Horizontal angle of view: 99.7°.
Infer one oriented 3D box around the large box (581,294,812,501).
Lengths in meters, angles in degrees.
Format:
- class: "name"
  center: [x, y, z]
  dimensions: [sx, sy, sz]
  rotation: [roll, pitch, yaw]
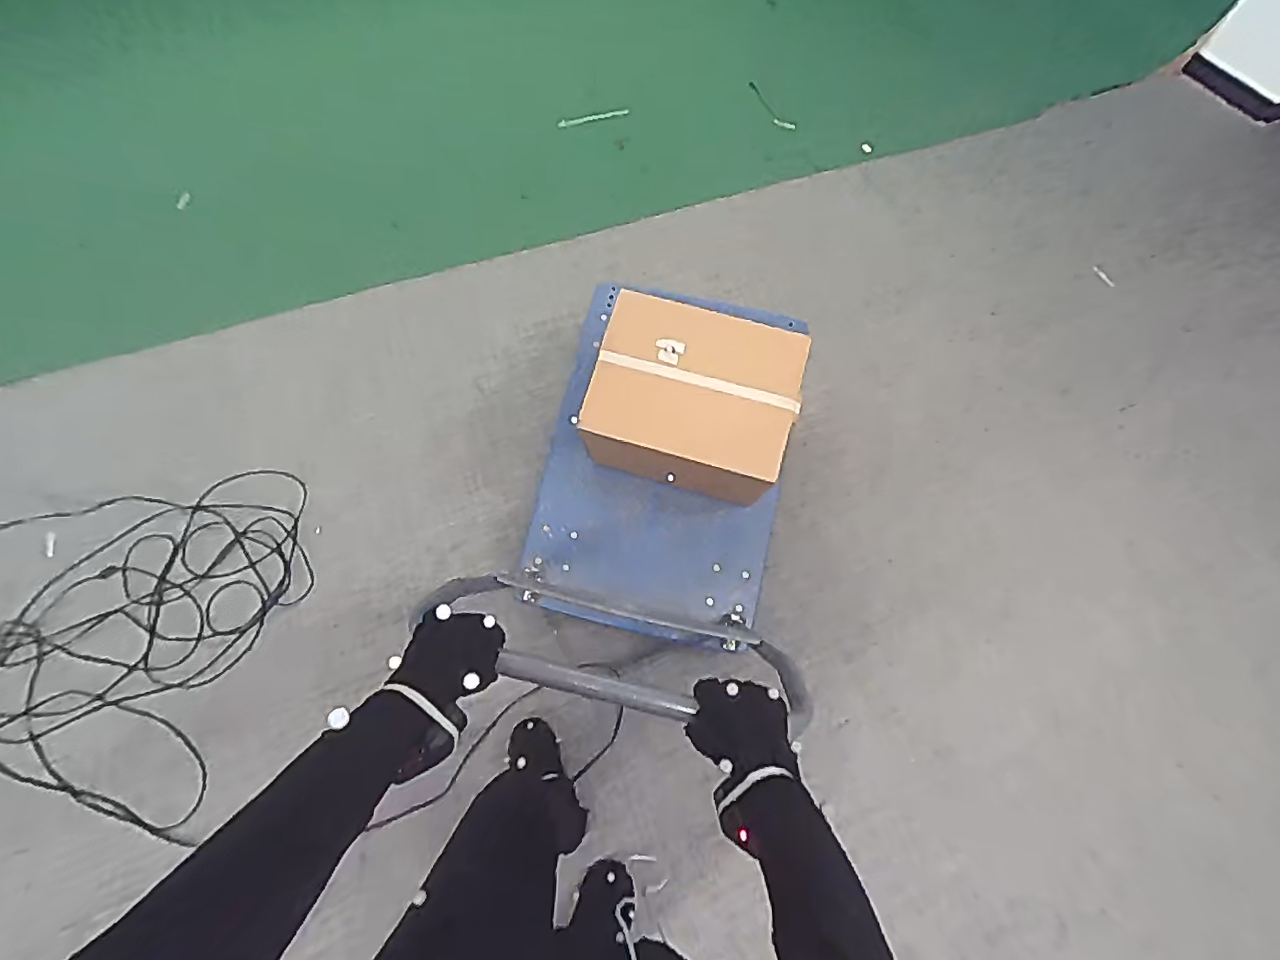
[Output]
- class: "large box"
  center: [0.123, -0.164, 1.210]
  dimensions: [0.408, 0.320, 0.320]
  rotation: [16, 80, 6]
